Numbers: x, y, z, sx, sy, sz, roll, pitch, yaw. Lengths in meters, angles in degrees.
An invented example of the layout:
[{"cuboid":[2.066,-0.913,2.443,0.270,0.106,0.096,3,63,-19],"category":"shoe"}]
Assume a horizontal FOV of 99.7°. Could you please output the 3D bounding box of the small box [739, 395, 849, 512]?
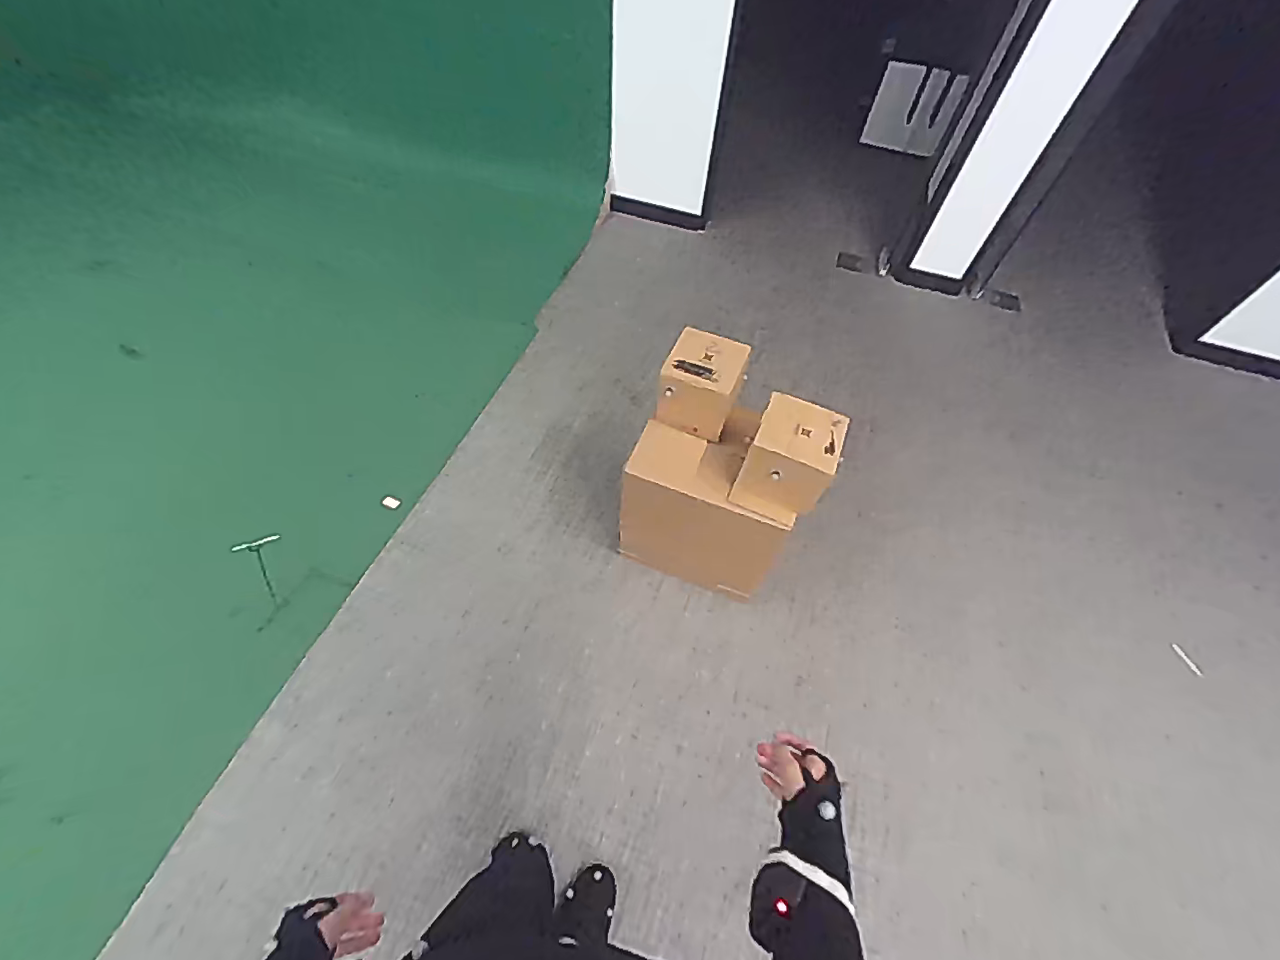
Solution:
[{"cuboid":[0.332,-0.053,1.194,0.179,0.176,0.168,21,59,10],"category":"small box"}]
